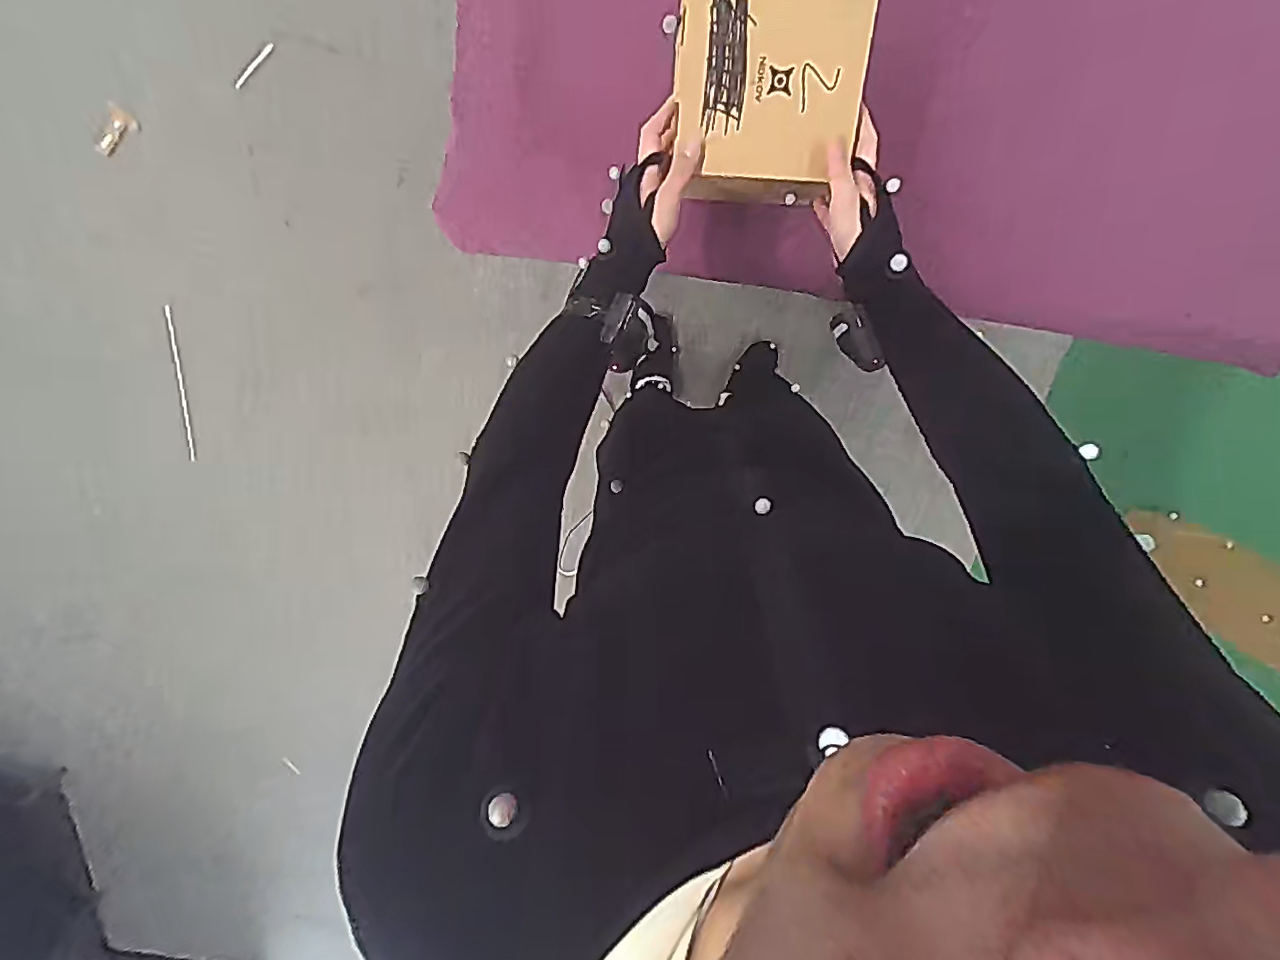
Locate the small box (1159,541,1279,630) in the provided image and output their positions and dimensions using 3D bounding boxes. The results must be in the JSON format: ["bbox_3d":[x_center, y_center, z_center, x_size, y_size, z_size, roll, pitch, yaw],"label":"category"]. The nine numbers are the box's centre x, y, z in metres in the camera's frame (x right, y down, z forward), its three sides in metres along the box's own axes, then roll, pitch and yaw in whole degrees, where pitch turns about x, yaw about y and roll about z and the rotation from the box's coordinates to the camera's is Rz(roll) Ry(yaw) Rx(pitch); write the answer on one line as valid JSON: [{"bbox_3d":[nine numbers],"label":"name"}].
[{"bbox_3d":[1.534,0.281,1.419,0.168,0.176,0.179,7,110,1],"label":"small box"}]

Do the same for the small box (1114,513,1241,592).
[{"bbox_3d":[1.540,0.219,1.568,0.168,0.176,0.179,10,110,0],"label":"small box"}]

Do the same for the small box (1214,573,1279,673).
[{"bbox_3d":[1.527,0.336,1.264,0.168,0.176,0.179,6,111,2],"label":"small box"}]
